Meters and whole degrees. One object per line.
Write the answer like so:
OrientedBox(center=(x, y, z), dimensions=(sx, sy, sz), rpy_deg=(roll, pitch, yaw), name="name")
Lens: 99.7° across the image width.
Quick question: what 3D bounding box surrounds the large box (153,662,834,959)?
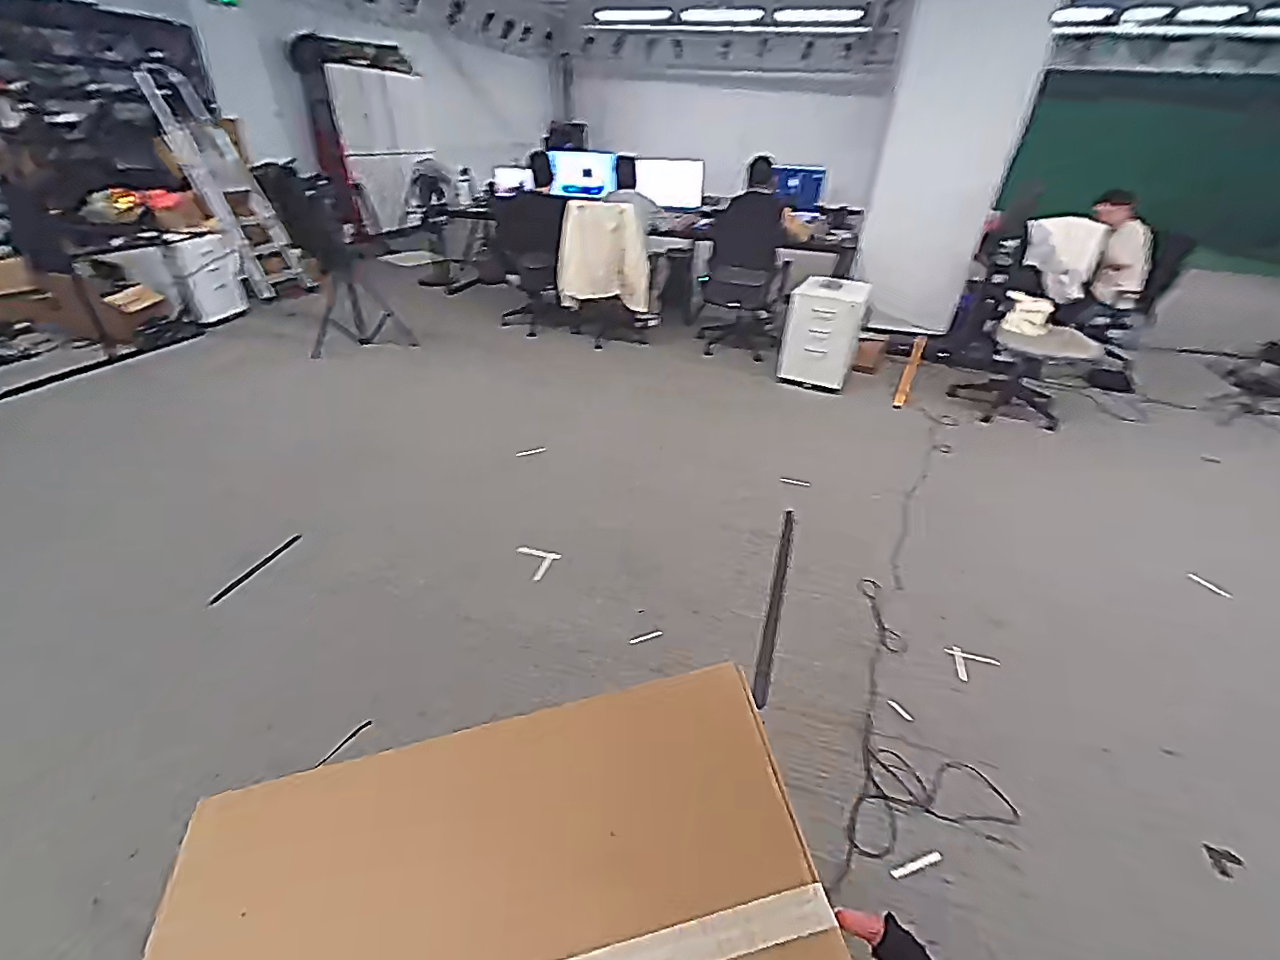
OrientedBox(center=(-0.075, 0.396, 0.410), dimensions=(0.408, 0.320, 0.320), rpy_deg=(-14, 44, -5), name="large box")
